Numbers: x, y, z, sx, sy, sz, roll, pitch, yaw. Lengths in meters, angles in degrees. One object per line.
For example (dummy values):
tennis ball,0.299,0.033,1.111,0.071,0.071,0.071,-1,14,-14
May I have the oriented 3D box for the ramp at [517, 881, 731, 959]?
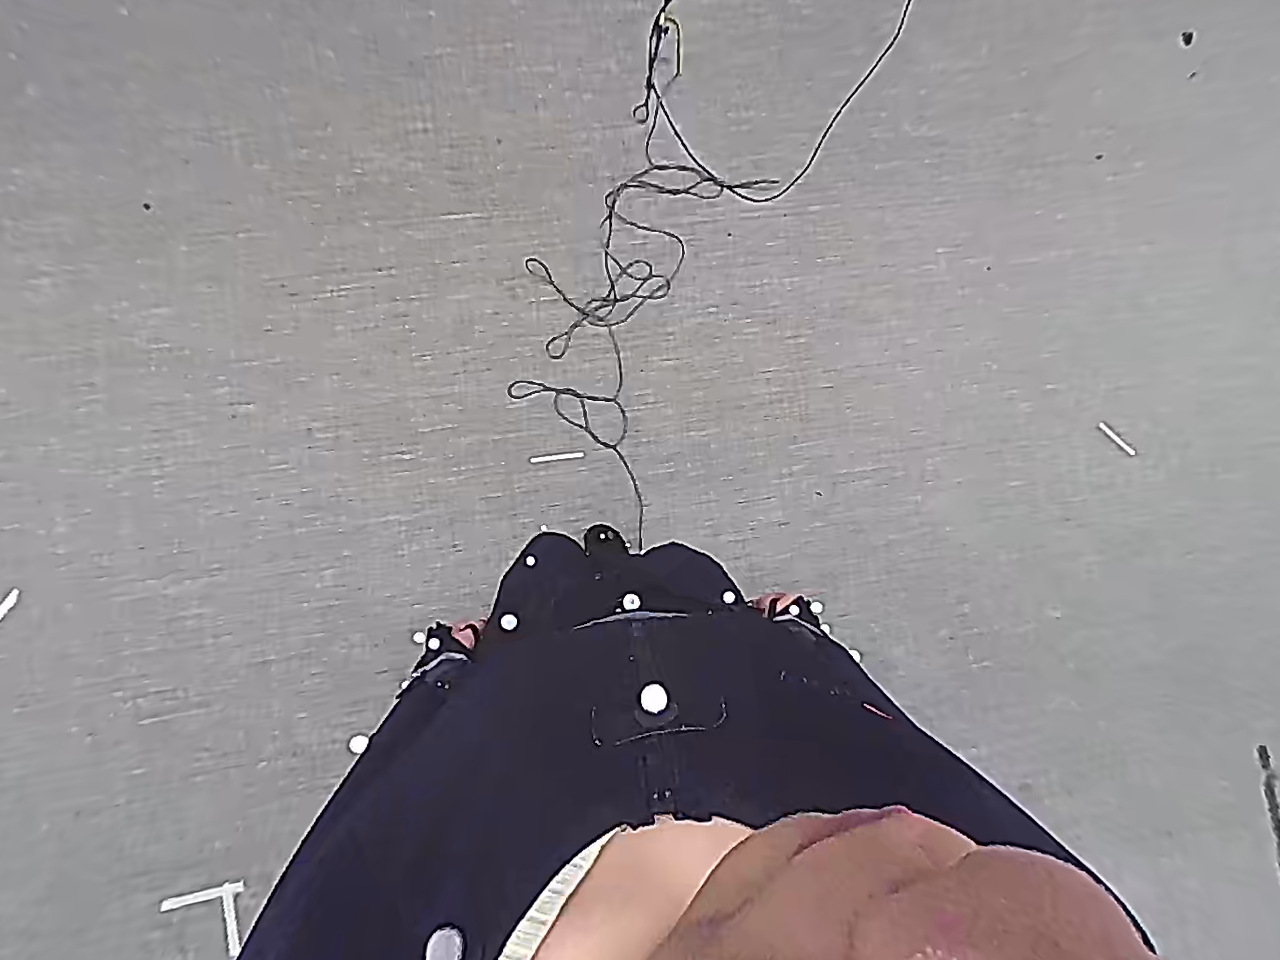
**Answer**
ramp,0.031,1.479,1.153,0.509,0.206,0.991,-10,84,-5
